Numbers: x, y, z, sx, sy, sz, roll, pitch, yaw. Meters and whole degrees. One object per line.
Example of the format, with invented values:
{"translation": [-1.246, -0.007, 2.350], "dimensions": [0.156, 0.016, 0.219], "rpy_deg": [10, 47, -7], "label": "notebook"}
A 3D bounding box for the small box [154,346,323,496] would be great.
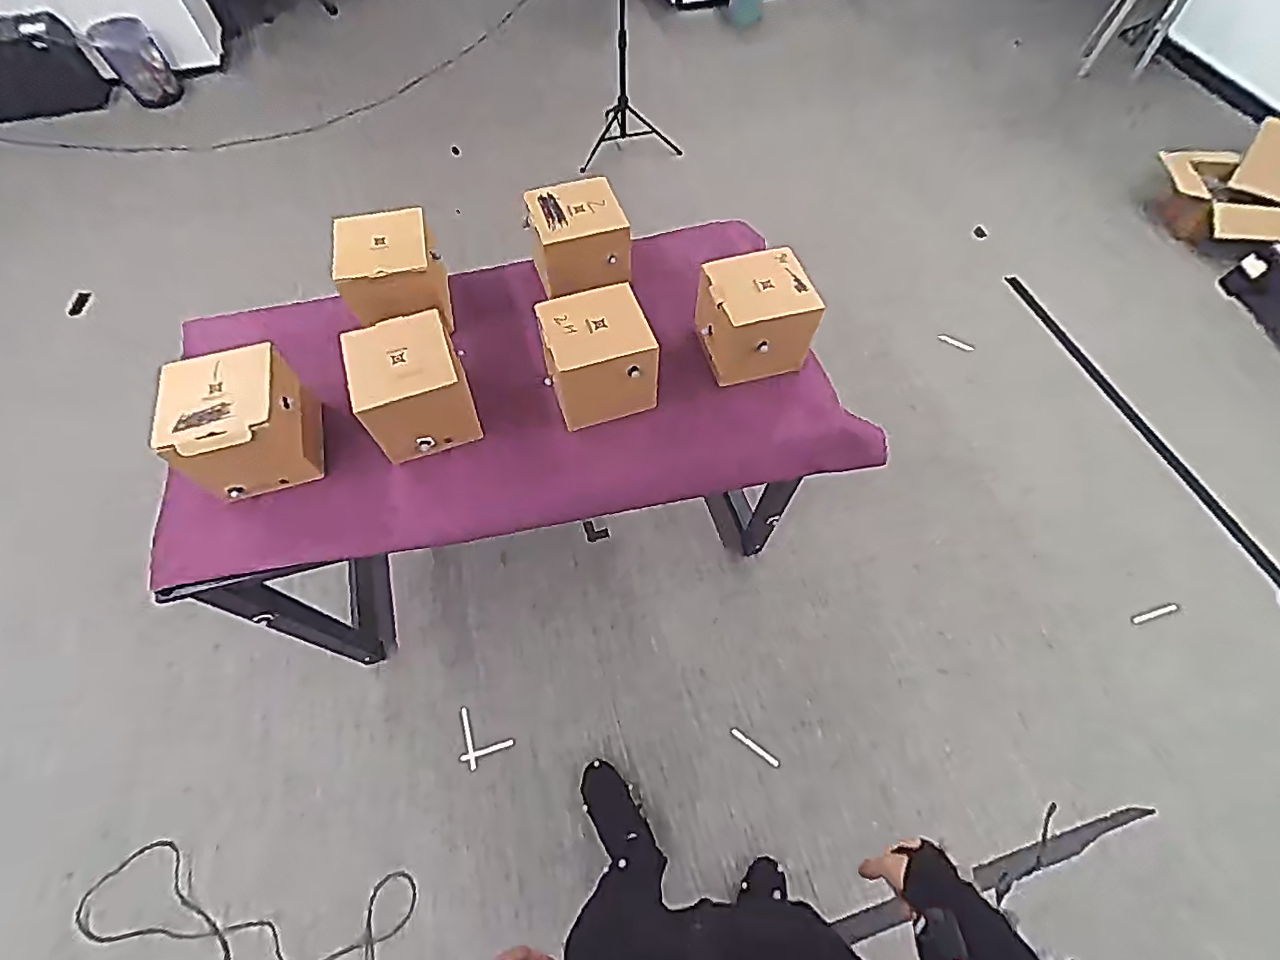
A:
{"translation": [-0.659, -0.090, 0.909], "dimensions": [0.168, 0.176, 0.179], "rpy_deg": [-16, 62, -9], "label": "small box"}

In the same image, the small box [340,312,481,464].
{"translation": [-0.396, -0.158, 0.950], "dimensions": [0.168, 0.176, 0.179], "rpy_deg": [-19, 63, -10], "label": "small box"}

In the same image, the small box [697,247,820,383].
{"translation": [0.213, -0.307, 1.034], "dimensions": [0.179, 0.176, 0.168], "rpy_deg": [-14, 63, -6], "label": "small box"}

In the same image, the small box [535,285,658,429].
{"translation": [-0.078, -0.219, 0.984], "dimensions": [0.179, 0.176, 0.168], "rpy_deg": [-17, 62, -9], "label": "small box"}

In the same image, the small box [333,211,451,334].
{"translation": [-0.486, -0.396, 1.073], "dimensions": [0.168, 0.176, 0.179], "rpy_deg": [-12, 63, -8], "label": "small box"}
